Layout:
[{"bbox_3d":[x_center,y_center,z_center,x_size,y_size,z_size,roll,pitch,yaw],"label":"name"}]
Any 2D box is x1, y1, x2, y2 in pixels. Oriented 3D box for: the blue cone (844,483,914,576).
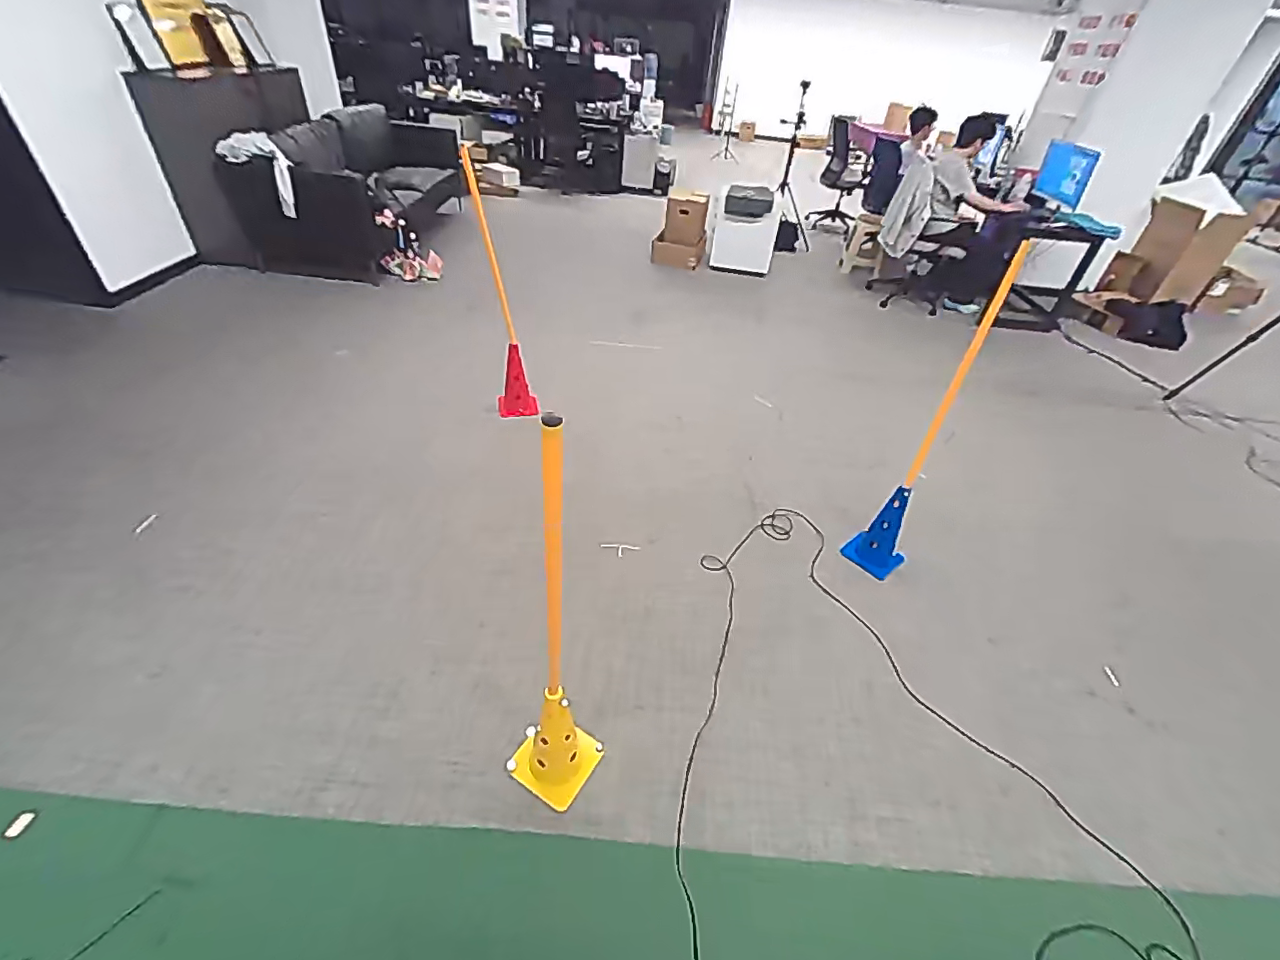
[{"bbox_3d":[0.950,0.165,2.074,0.193,0.380,0.192,-26,48,-36],"label":"blue cone"}]
